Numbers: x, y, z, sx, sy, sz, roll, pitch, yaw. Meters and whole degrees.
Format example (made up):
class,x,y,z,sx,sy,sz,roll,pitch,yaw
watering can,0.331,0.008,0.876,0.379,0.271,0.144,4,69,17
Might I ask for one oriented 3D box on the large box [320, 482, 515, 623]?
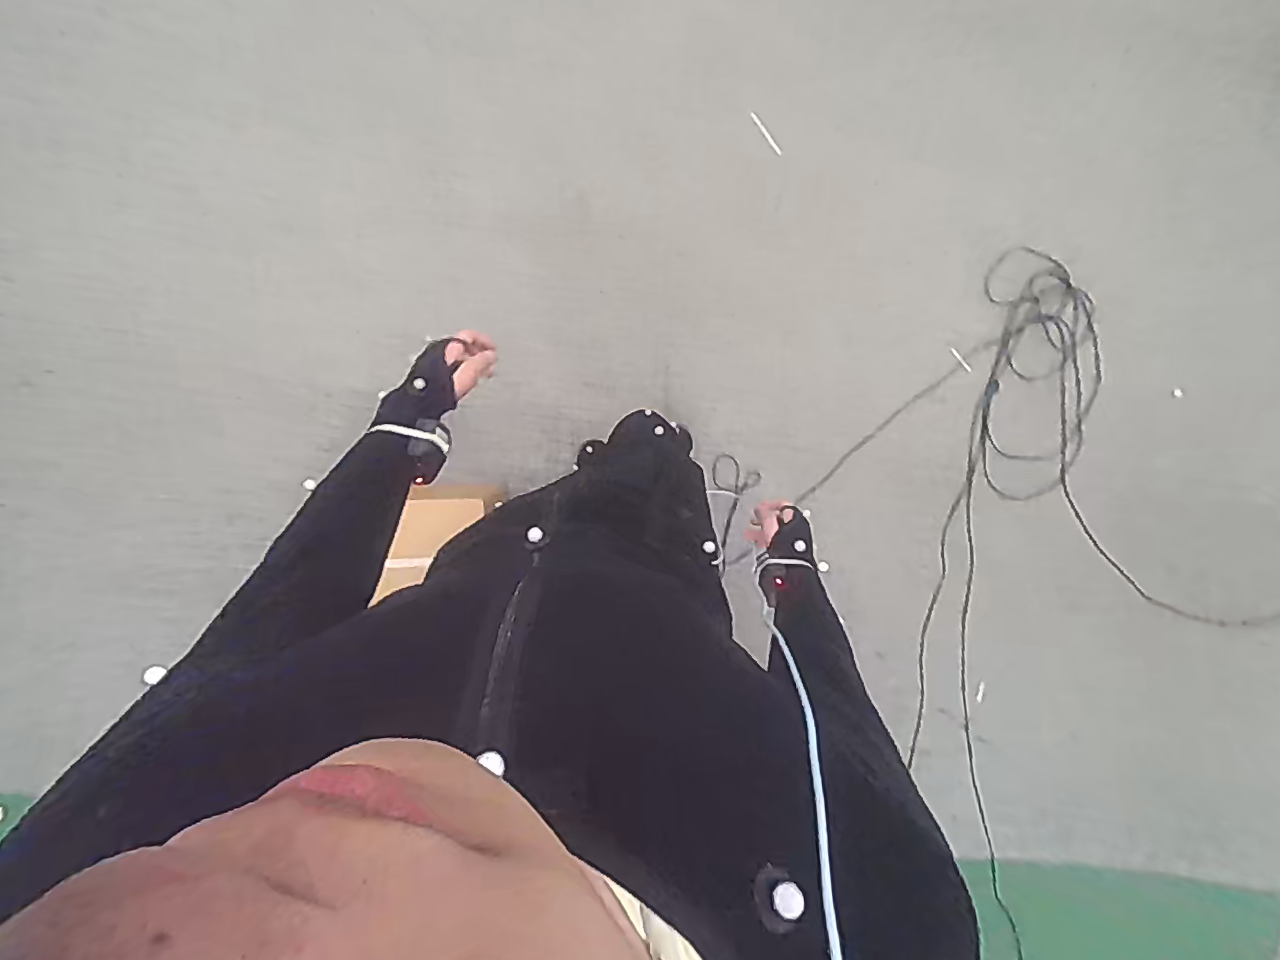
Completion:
class,x,y,z,sx,sy,sz,roll,pitch,yaw
large box,-0.577,0.180,1.475,0.408,0.320,0.320,-1,96,-2
